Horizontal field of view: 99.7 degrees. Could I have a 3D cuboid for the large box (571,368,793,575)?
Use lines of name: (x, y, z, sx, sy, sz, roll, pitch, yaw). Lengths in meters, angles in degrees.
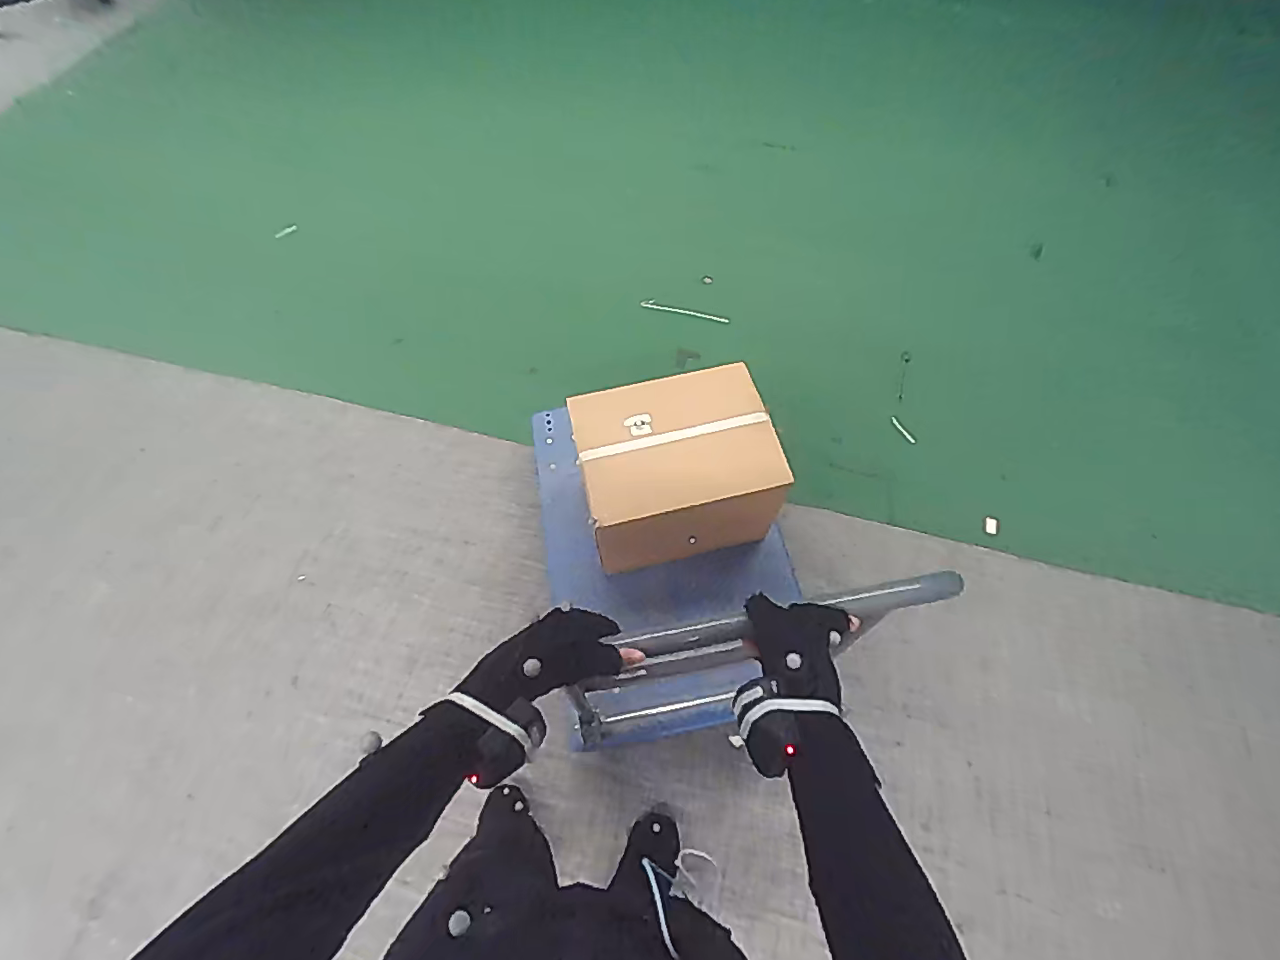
large box: (0.082, -0.008, 1.256, 0.408, 0.320, 0.320, -13, 63, -6)
